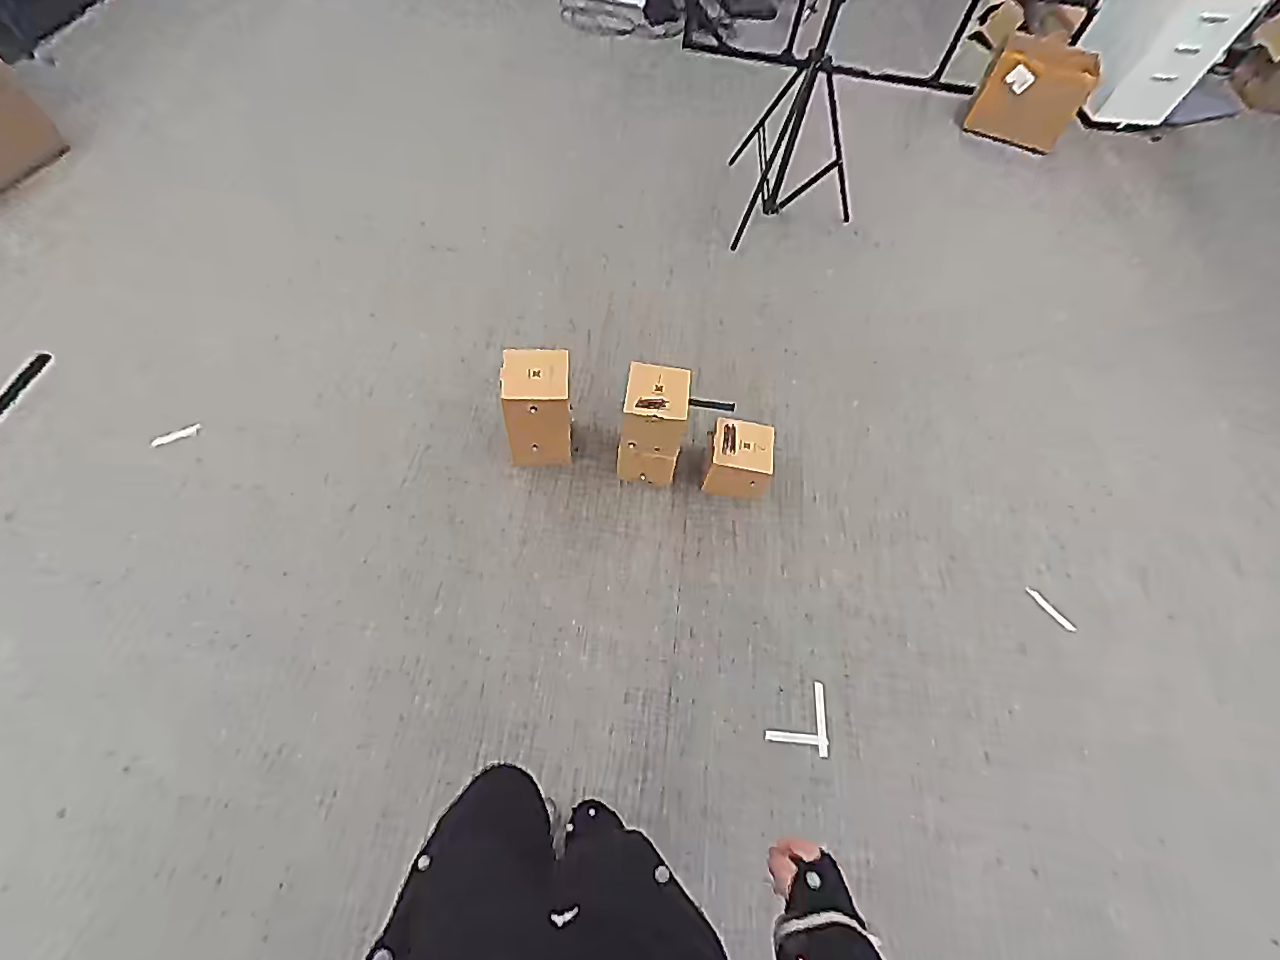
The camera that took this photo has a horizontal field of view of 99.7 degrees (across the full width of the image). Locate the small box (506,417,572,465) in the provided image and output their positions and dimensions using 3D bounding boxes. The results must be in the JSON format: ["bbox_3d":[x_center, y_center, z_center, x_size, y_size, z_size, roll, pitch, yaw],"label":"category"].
[{"bbox_3d":[-0.298,-0.155,1.620,0.179,0.176,0.168,-2,62,-6],"label":"small box"}]

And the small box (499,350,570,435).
[{"bbox_3d":[-0.281,-0.235,1.479,0.179,0.176,0.168,0,62,-7],"label":"small box"}]

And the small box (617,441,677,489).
[{"bbox_3d":[0.027,-0.099,1.620,0.168,0.176,0.179,11,61,1],"label":"small box"}]

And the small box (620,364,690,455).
[{"bbox_3d":[0.039,-0.188,1.481,0.168,0.176,0.179,8,60,-1],"label":"small box"}]
